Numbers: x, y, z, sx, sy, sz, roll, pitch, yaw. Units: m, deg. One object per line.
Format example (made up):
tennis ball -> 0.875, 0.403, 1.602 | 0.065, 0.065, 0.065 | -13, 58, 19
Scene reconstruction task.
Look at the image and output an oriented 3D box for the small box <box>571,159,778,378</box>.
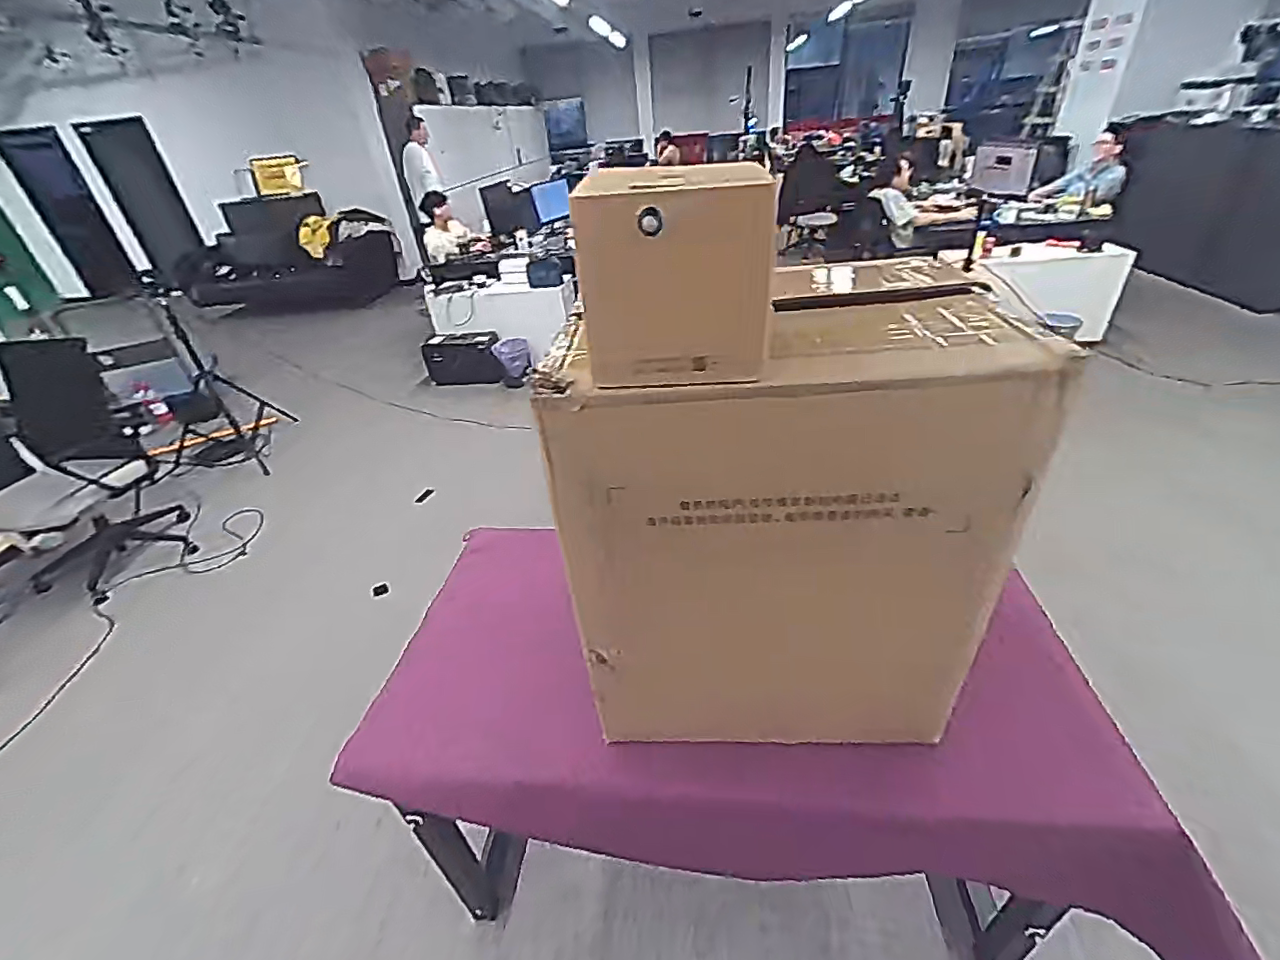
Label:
small box -> 0.035, -0.211, 0.533 | 0.168, 0.176, 0.179 | -2, 34, 5
